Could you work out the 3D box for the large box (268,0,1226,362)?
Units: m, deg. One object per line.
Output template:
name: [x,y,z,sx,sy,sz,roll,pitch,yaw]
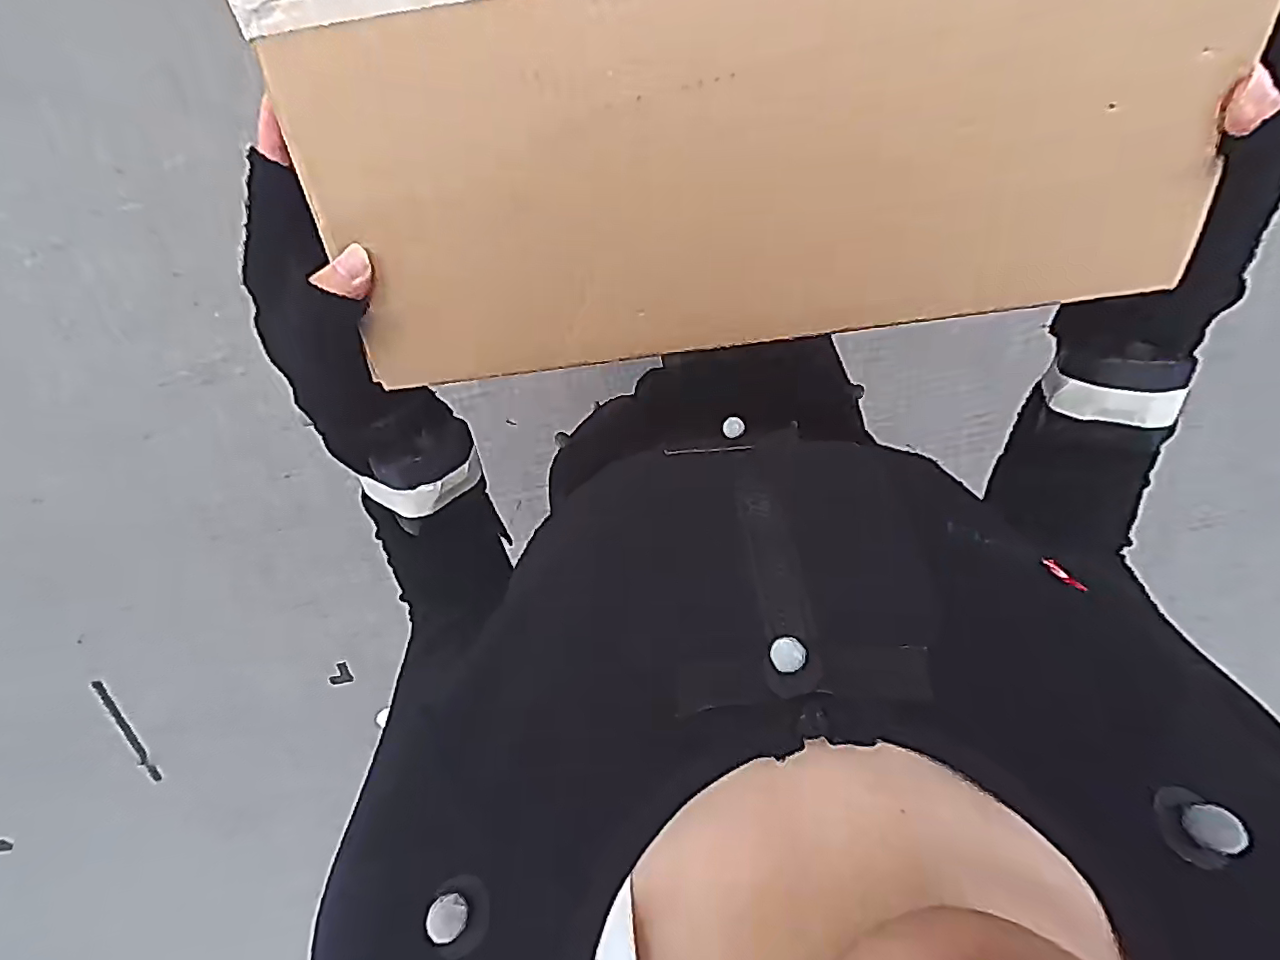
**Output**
large box: [0.037,-0.293,0.343,0.408,0.320,0.320,-7,119,2]
